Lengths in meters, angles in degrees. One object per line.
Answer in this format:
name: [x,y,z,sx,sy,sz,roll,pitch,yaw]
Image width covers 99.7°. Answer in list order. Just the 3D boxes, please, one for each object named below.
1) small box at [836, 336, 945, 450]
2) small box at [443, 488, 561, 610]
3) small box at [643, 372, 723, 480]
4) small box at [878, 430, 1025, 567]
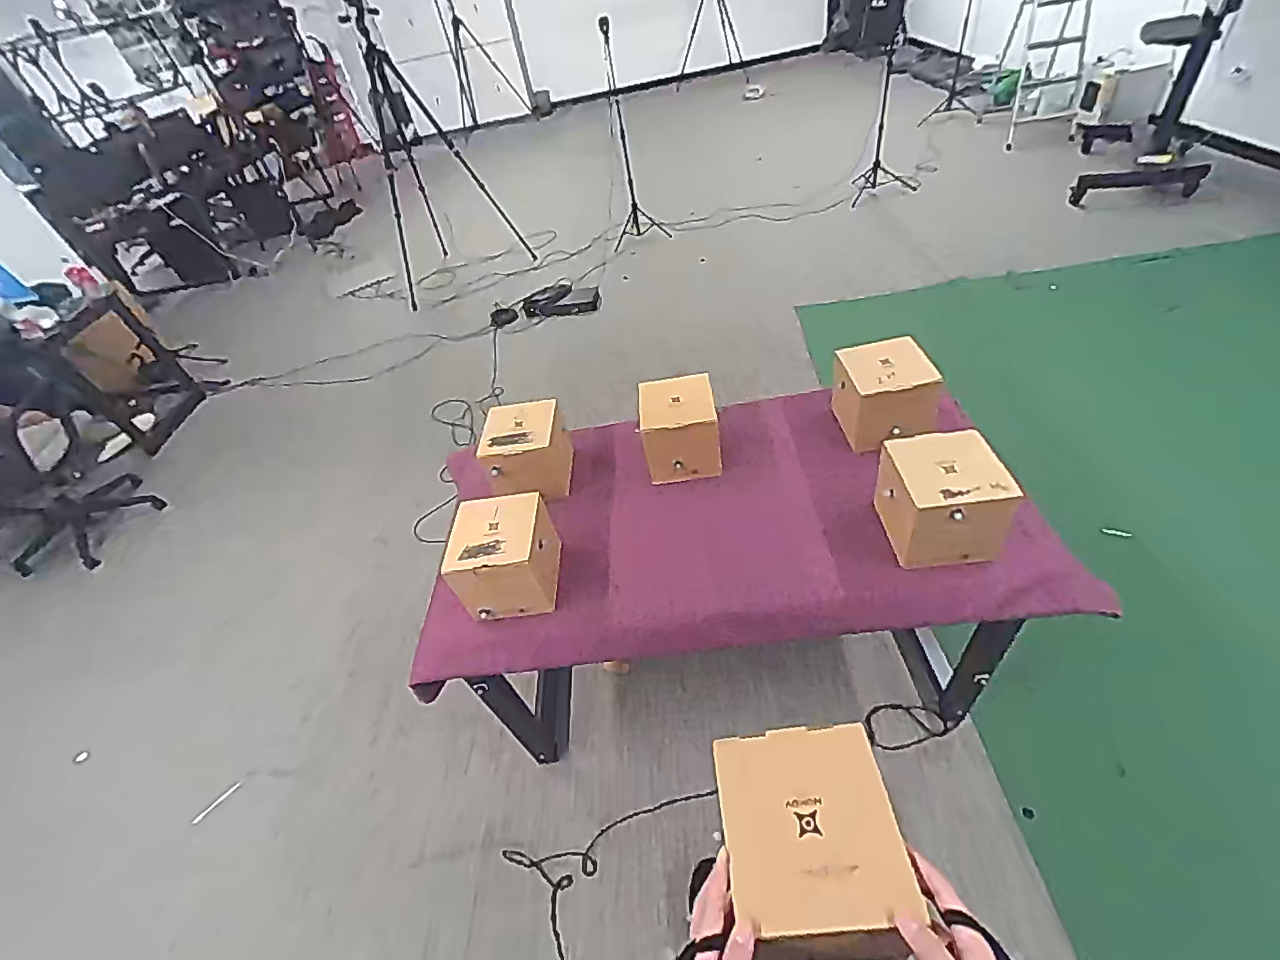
small box: [0.546,-0.192,1.207,0.168,0.176,0.179,-10,45,7]
small box: [-0.259,0.142,1.062,0.168,0.176,0.179,-7,44,5]
small box: [0.098,-0.124,1.250,0.168,0.176,0.179,-7,46,5]
small box: [0.547,0.035,0.982,0.168,0.176,0.179,-7,42,8]
